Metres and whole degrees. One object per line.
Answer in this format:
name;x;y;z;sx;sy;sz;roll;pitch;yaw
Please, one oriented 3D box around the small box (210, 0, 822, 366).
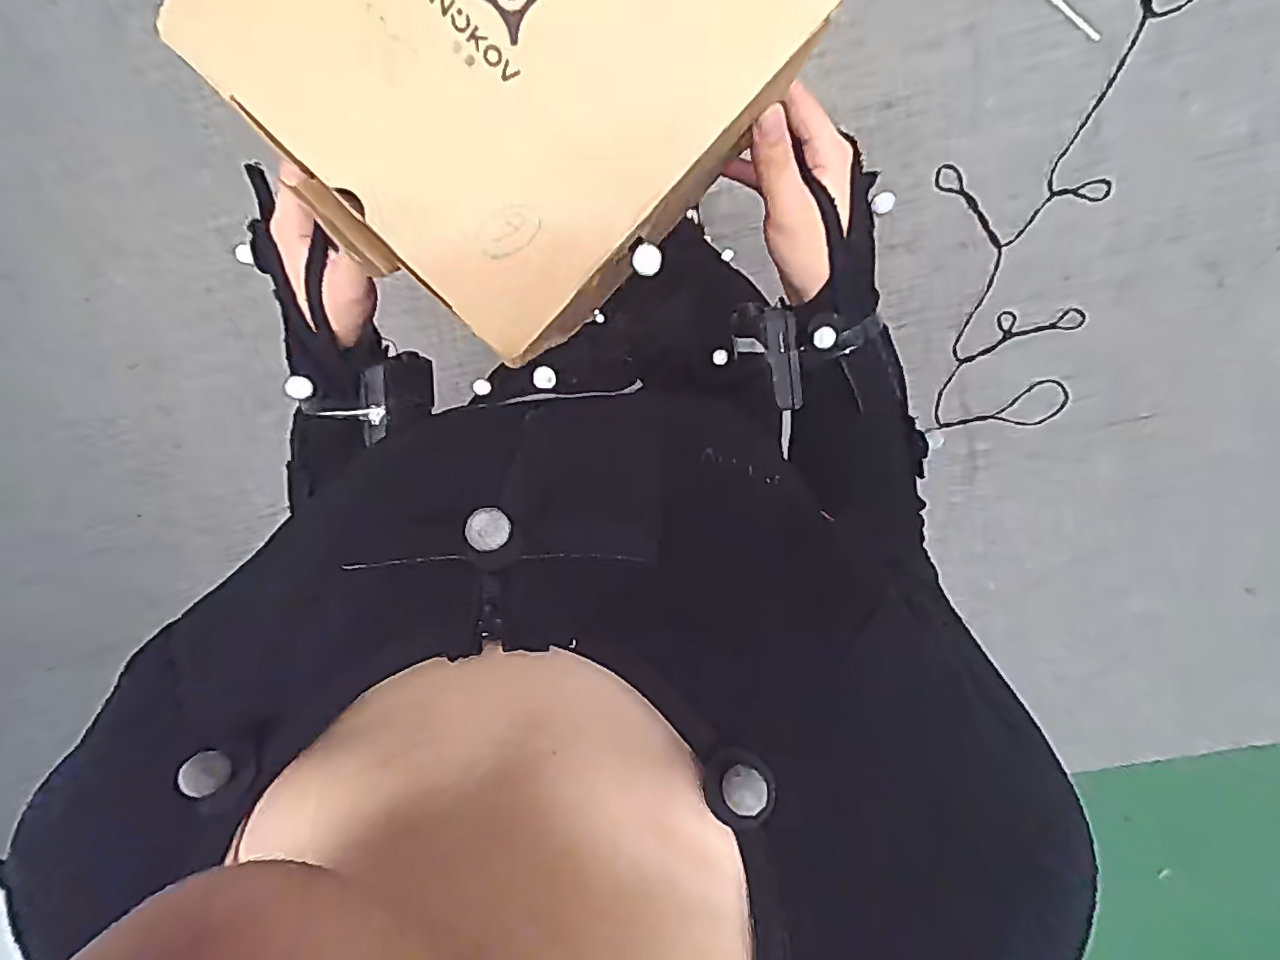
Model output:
small box;-0.046;-0.183;0.277;0.168;0.176;0.179;43;104;-12
